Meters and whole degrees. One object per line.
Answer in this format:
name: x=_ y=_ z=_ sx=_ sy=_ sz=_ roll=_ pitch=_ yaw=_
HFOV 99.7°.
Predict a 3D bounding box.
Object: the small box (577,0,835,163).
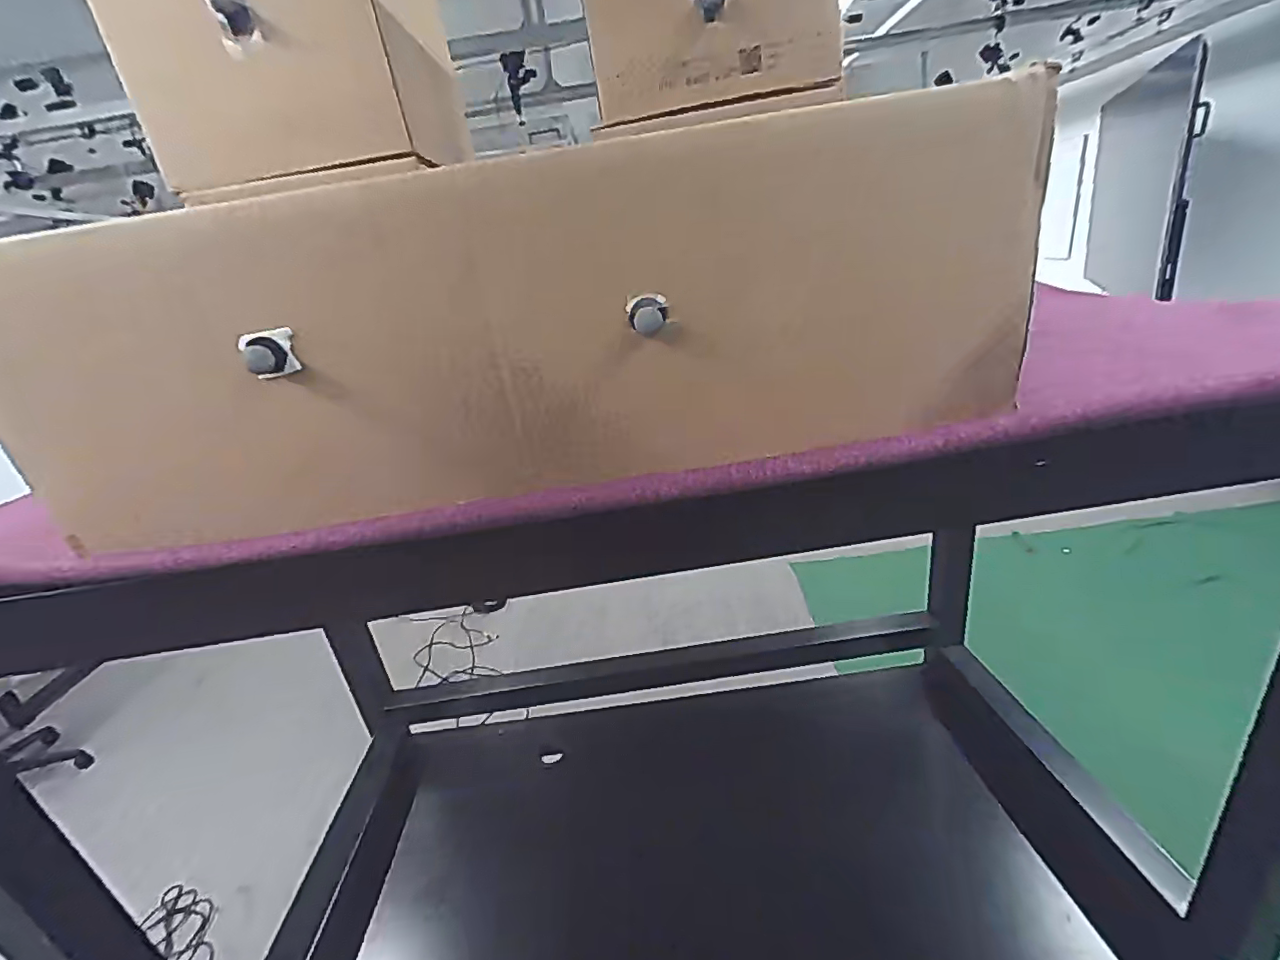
small box: x=0.040 y=-0.359 z=0.414 sx=0.168 sy=0.176 sz=0.179 roll=-9 pitch=22 yaw=4
